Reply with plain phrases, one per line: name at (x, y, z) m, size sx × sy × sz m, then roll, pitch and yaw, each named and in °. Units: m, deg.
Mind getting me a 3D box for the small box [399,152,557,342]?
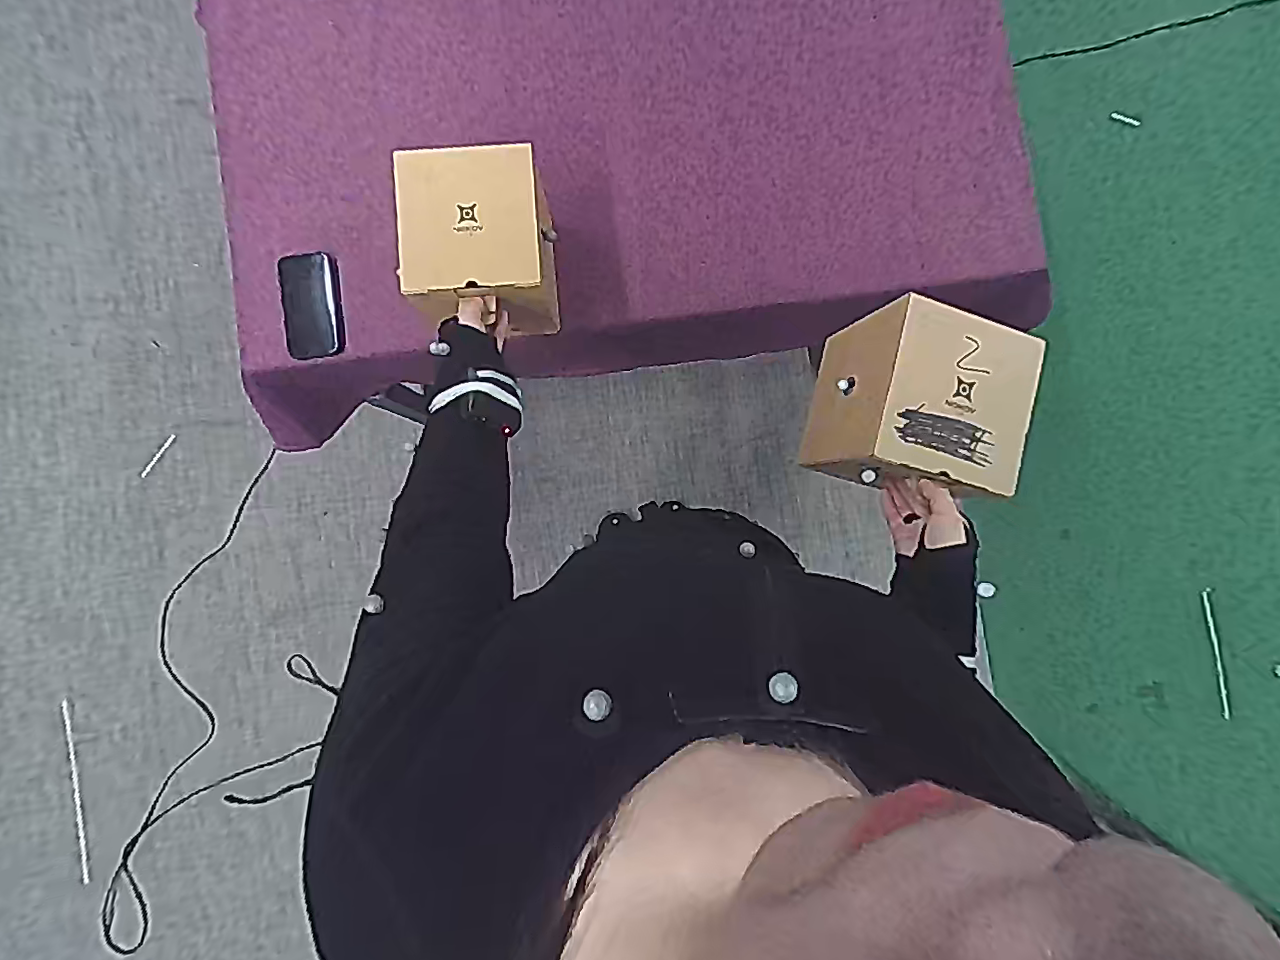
small box at (-0.204, -0.297, 0.717) m, size 0.168 × 0.176 × 0.179 m, roll -4°, pitch 86°, yaw -3°
